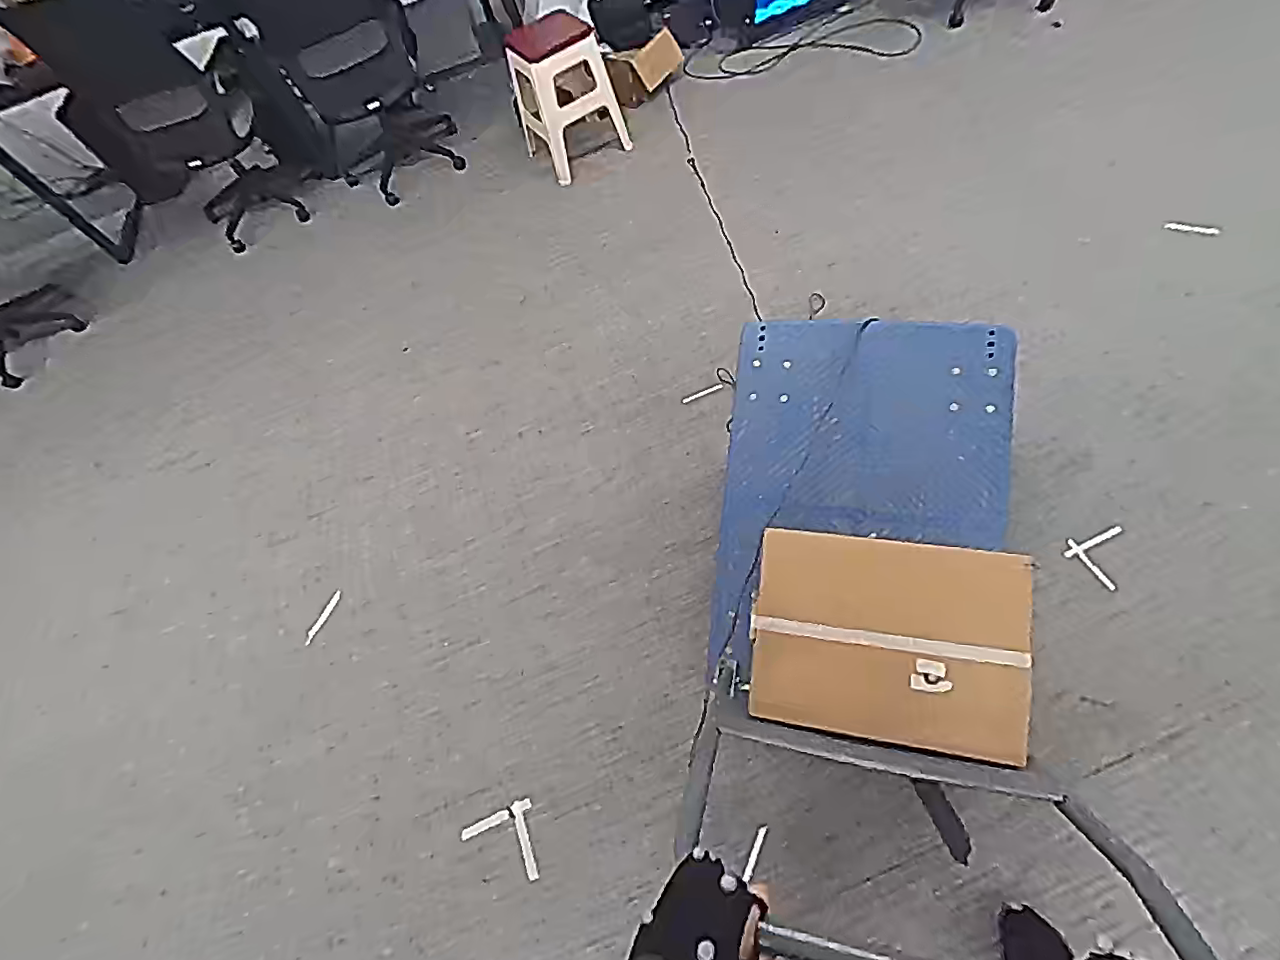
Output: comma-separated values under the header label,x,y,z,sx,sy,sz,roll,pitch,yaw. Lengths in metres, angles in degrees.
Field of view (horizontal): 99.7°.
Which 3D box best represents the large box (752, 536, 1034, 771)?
label,x,y,z,sx,sy,sz,roll,pitch,yaw
large box,0.421,0.280,0.995,0.408,0.320,0.320,6,85,14
